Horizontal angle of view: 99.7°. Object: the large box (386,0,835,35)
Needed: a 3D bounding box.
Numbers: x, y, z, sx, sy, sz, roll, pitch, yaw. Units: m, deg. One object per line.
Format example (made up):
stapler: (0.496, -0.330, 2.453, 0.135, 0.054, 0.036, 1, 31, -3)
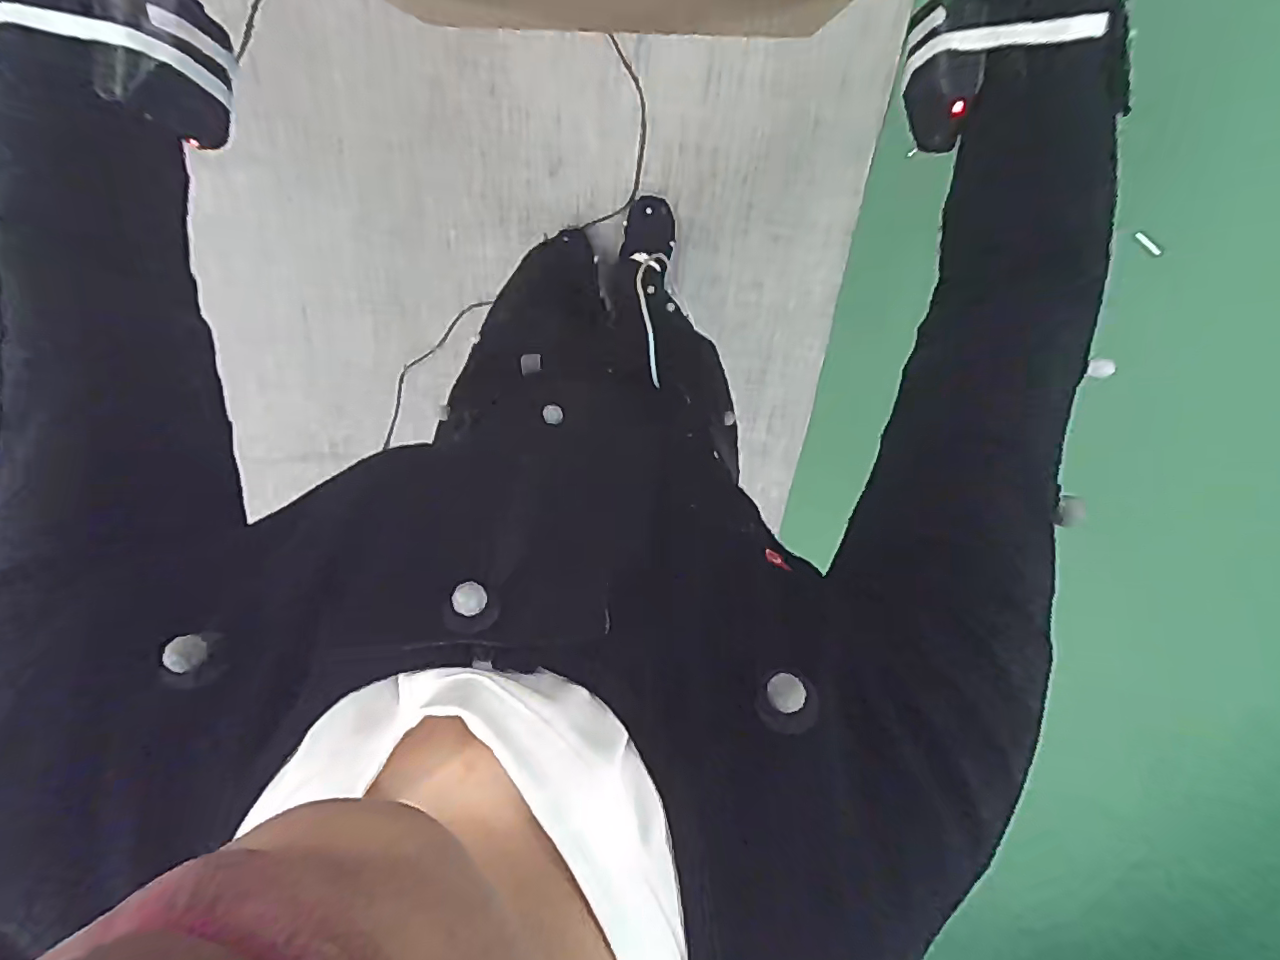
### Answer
large box: (-0.028, -0.527, 0.364, 0.408, 0.320, 0.320, 2, 122, 1)
